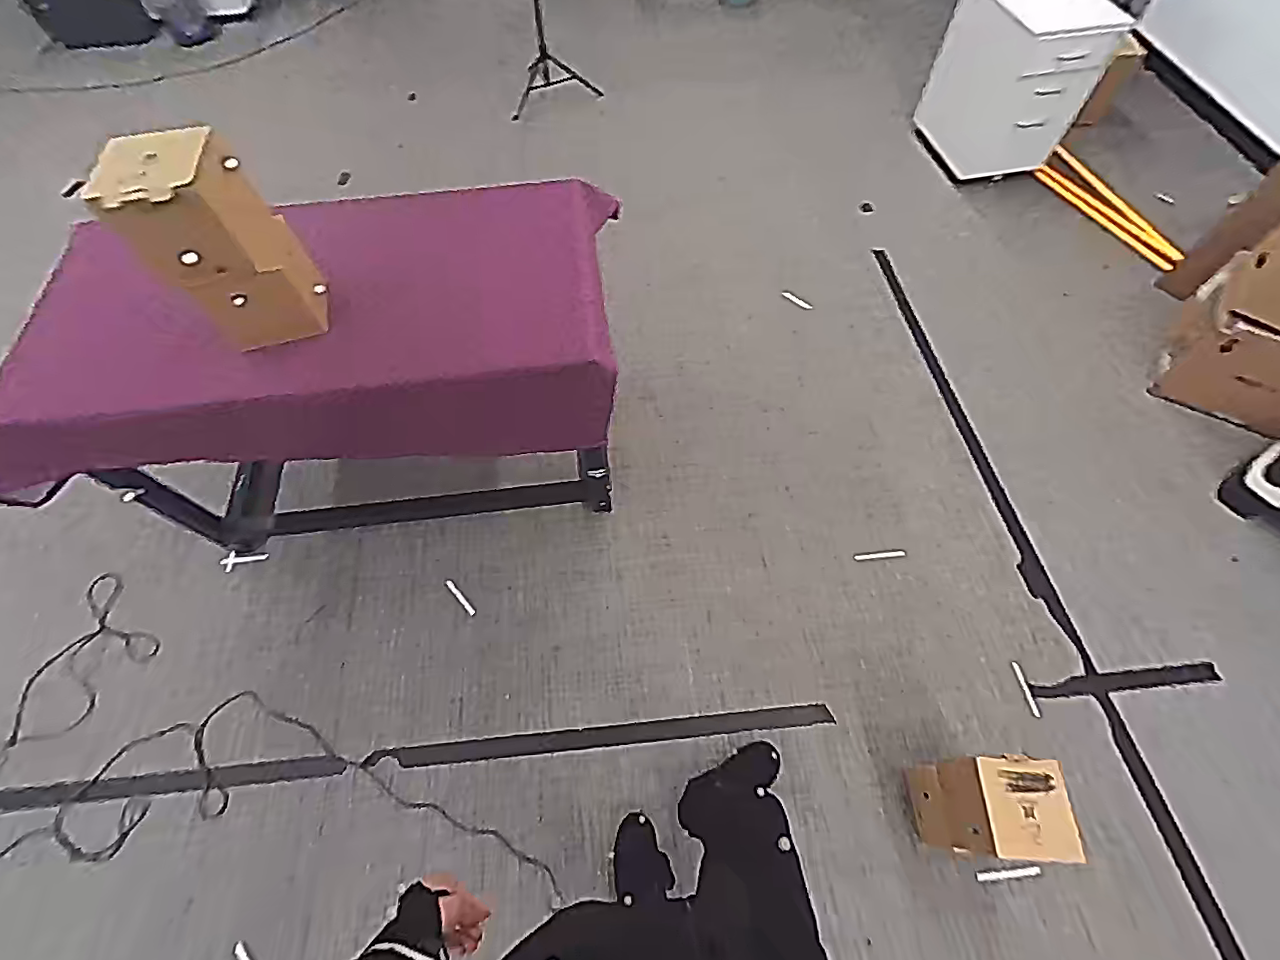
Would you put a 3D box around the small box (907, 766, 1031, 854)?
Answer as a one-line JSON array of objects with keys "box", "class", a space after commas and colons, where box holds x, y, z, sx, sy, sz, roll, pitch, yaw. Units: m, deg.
[{"box": [0.750, 0.766, 1.263, 0.179, 0.176, 0.168, -2, 62, -1], "class": "small box"}]

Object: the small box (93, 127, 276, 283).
[{"box": [-0.774, -0.477, 0.944, 0.168, 0.176, 0.179, -11, 62, -4], "class": "small box"}]

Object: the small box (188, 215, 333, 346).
[{"box": [-0.750, -0.394, 1.087, 0.179, 0.176, 0.168, -15, 62, -8], "class": "small box"}]
